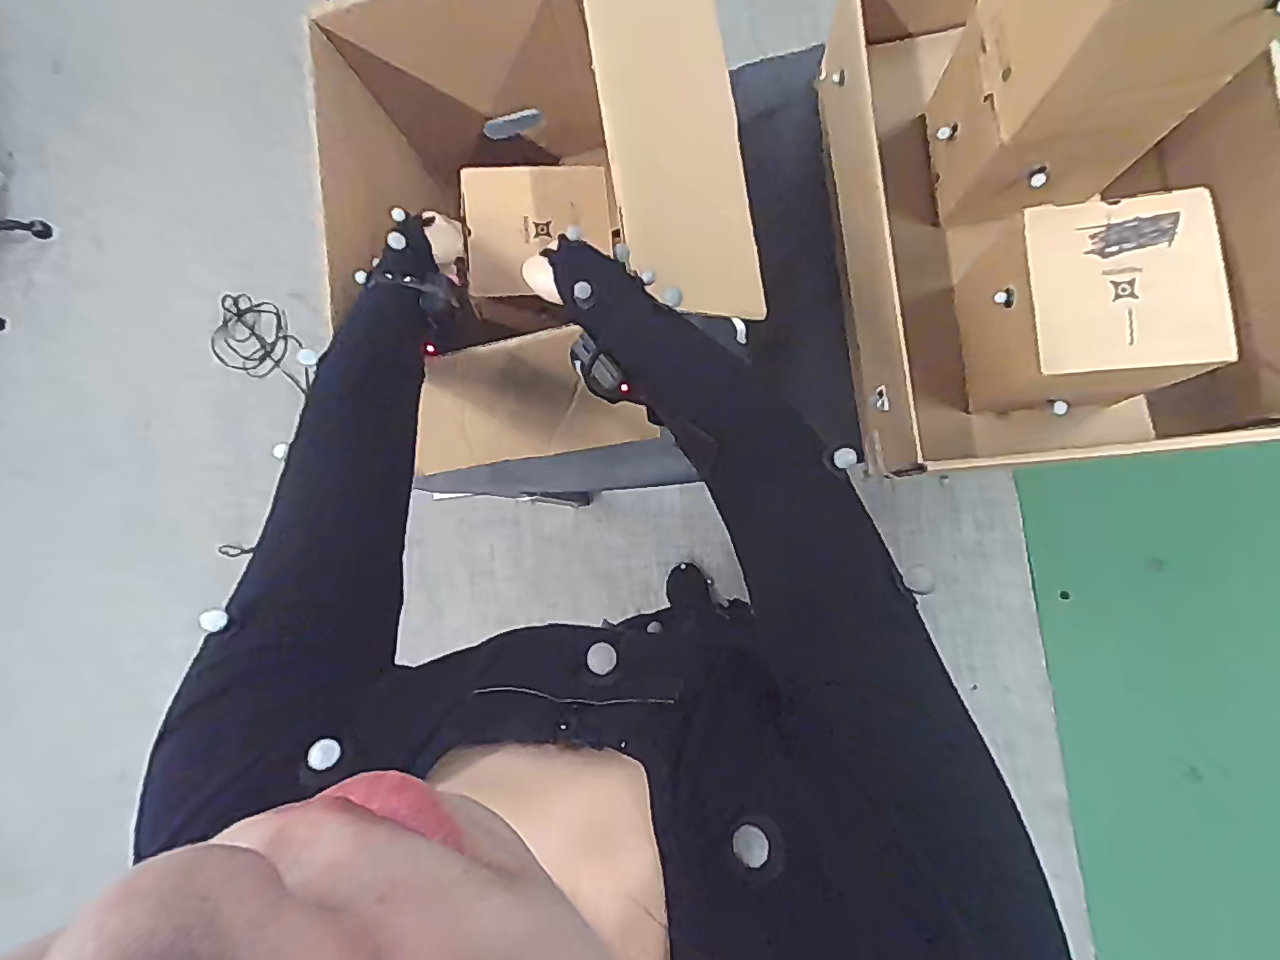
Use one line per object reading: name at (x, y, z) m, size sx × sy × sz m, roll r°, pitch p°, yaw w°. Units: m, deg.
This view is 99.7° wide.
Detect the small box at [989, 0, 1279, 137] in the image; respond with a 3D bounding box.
small box at (0.433, -0.436, 0.467) m, size 0.179 × 0.176 × 0.168 m, roll -7°, pitch 86°, yaw 8°
